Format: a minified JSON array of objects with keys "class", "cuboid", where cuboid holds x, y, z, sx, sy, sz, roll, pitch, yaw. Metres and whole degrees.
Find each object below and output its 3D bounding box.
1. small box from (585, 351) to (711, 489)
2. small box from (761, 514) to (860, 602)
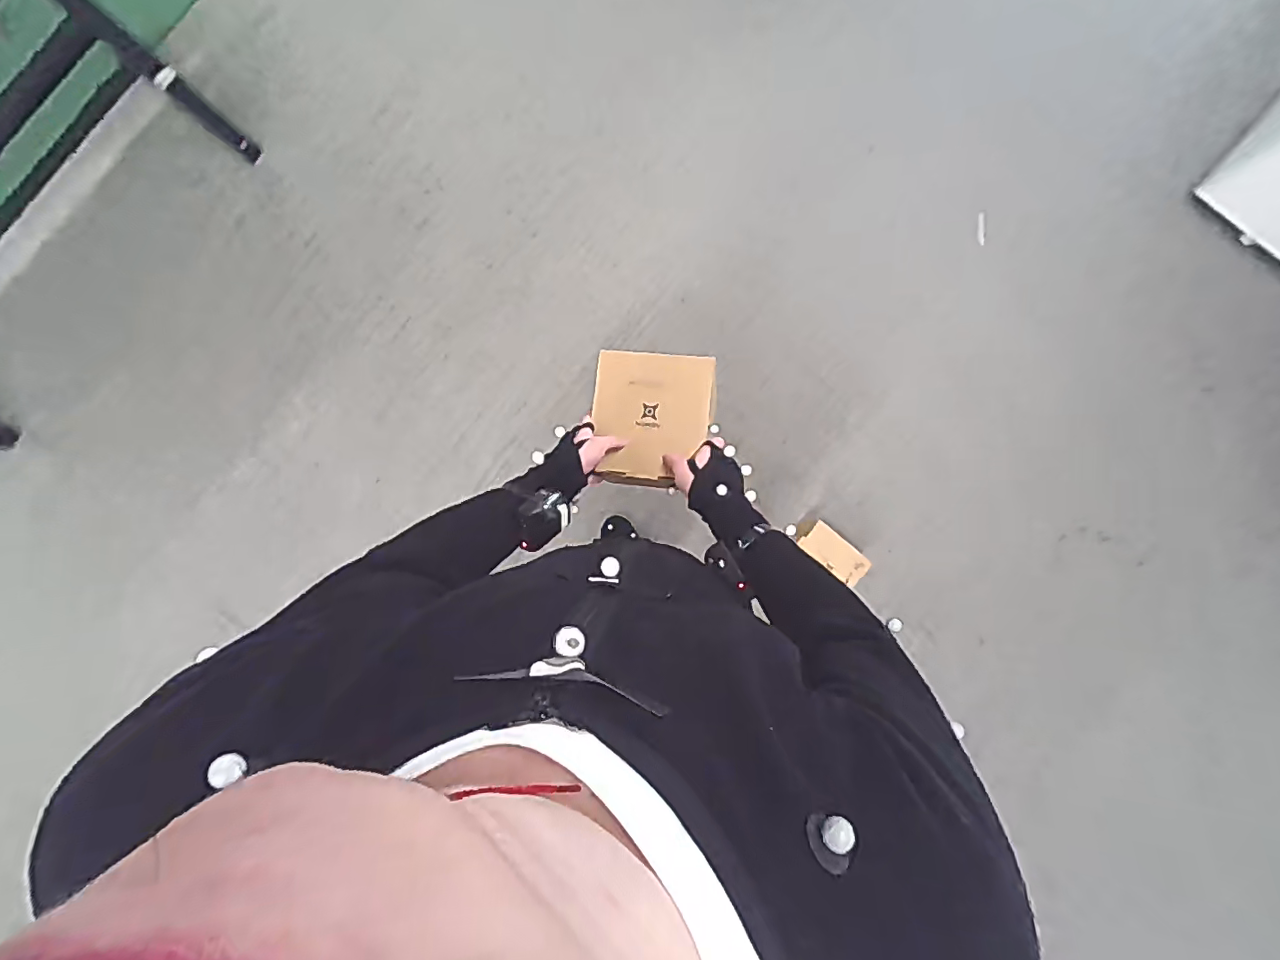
[{"class":"small box","cuboid":[0.020,-0.083,0.831,0.168,0.176,0.179,5,84,6]},{"class":"small box","cuboid":[0.462,0.210,1.498,0.179,0.176,0.168,38,87,0]}]
